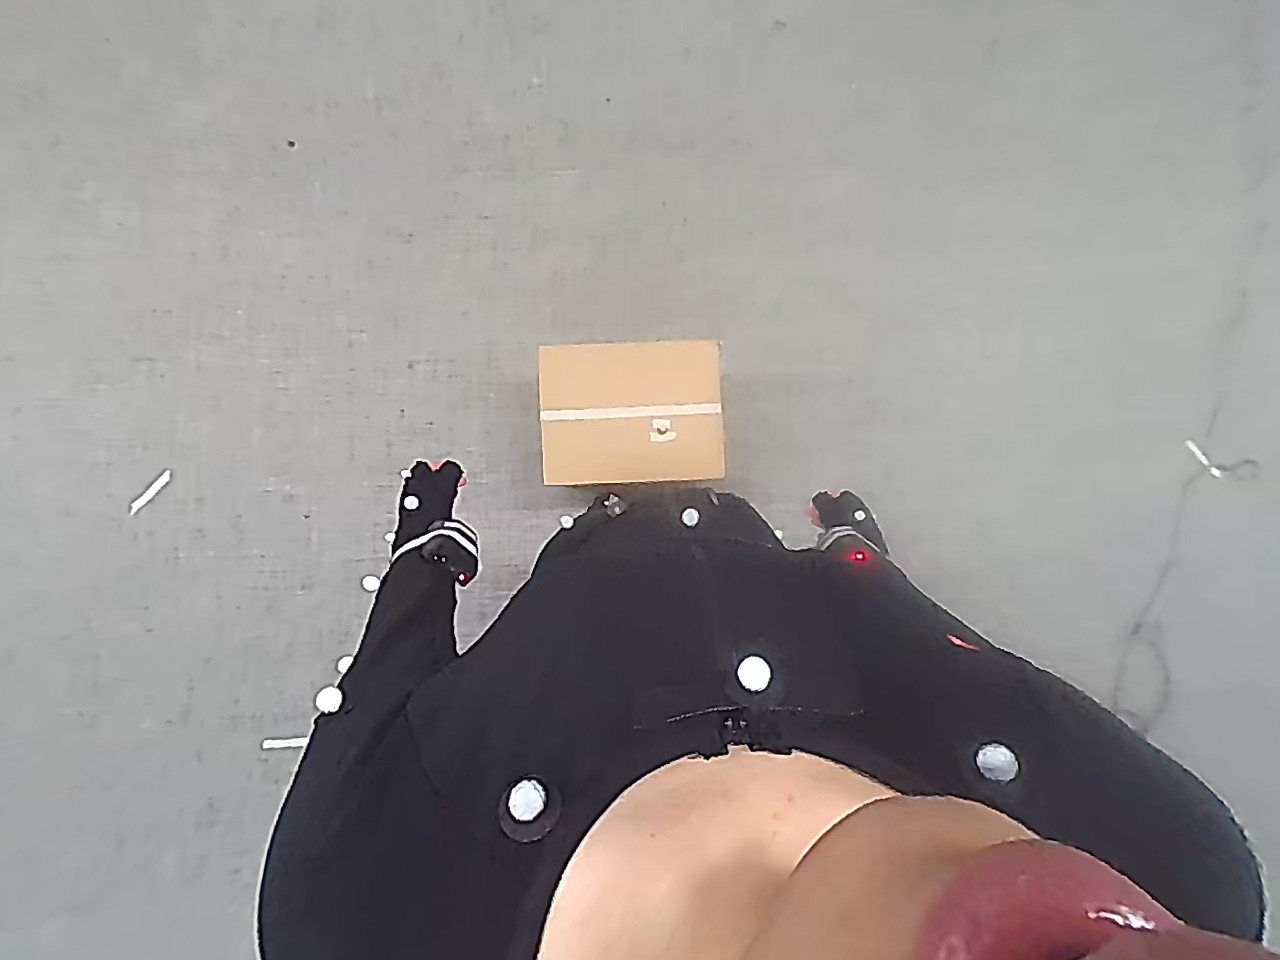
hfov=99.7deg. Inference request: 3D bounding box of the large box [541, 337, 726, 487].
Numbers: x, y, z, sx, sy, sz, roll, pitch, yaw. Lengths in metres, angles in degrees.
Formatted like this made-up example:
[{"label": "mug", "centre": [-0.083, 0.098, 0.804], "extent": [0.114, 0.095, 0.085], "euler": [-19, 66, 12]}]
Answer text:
[{"label": "large box", "centre": [-0.018, -0.151, 1.353], "extent": [0.408, 0.320, 0.320], "euler": [-3, 89, -1]}]
